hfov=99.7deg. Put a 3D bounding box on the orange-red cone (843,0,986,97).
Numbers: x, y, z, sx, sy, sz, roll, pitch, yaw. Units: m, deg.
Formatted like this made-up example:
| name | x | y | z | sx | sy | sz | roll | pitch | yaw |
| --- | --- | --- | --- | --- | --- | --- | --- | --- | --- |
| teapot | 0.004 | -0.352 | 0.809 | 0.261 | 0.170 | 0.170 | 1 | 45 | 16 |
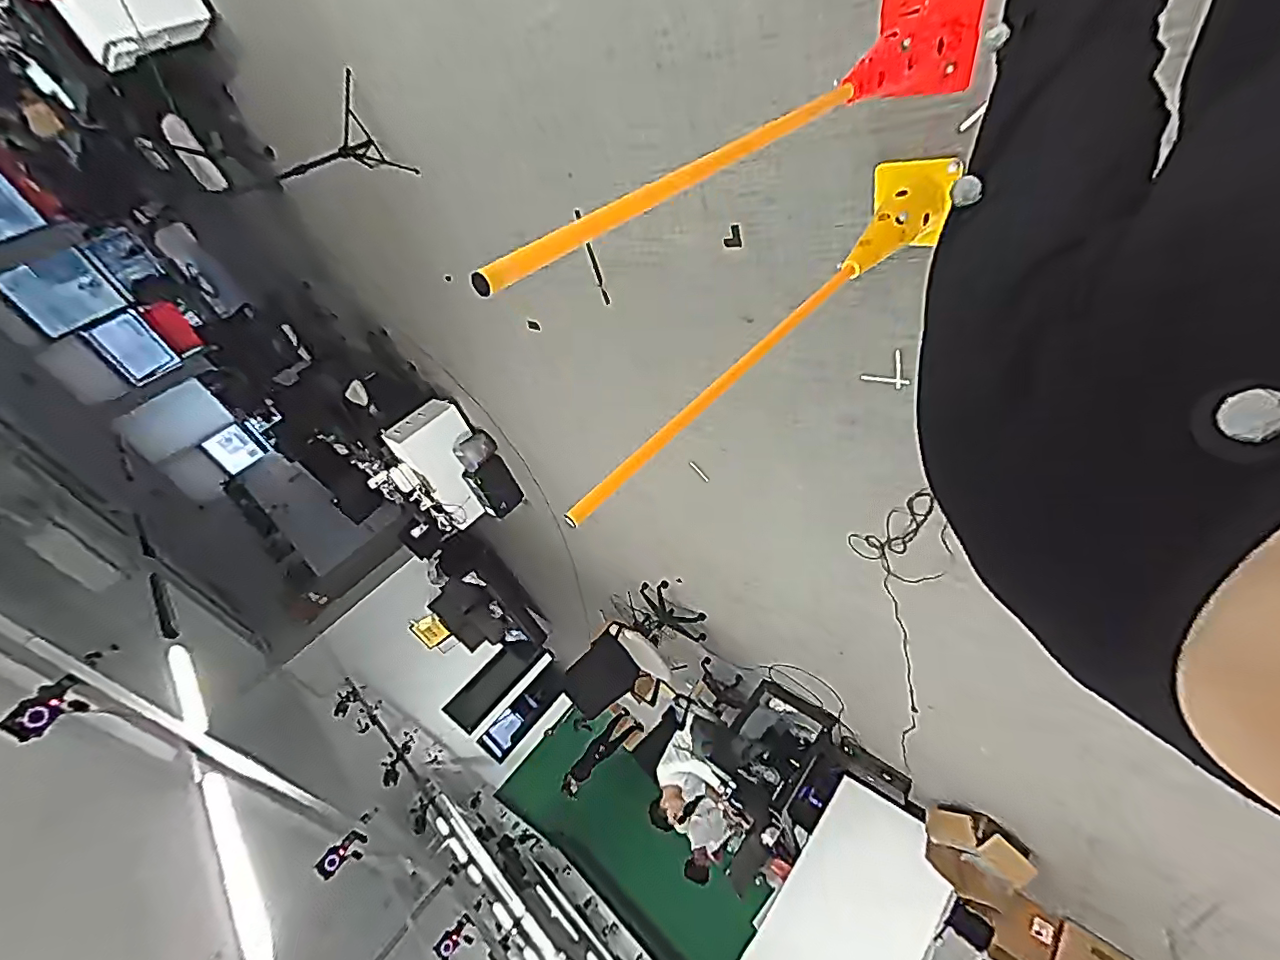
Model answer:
| name | x | y | z | sx | sy | sz | roll | pitch | yaw |
| --- | --- | --- | --- | --- | --- | --- | --- | --- | --- |
| orange-red cone | 0.484 | -0.808 | 1.034 | 0.198 | 0.360 | 0.199 | 24 | 145 | 35 |
